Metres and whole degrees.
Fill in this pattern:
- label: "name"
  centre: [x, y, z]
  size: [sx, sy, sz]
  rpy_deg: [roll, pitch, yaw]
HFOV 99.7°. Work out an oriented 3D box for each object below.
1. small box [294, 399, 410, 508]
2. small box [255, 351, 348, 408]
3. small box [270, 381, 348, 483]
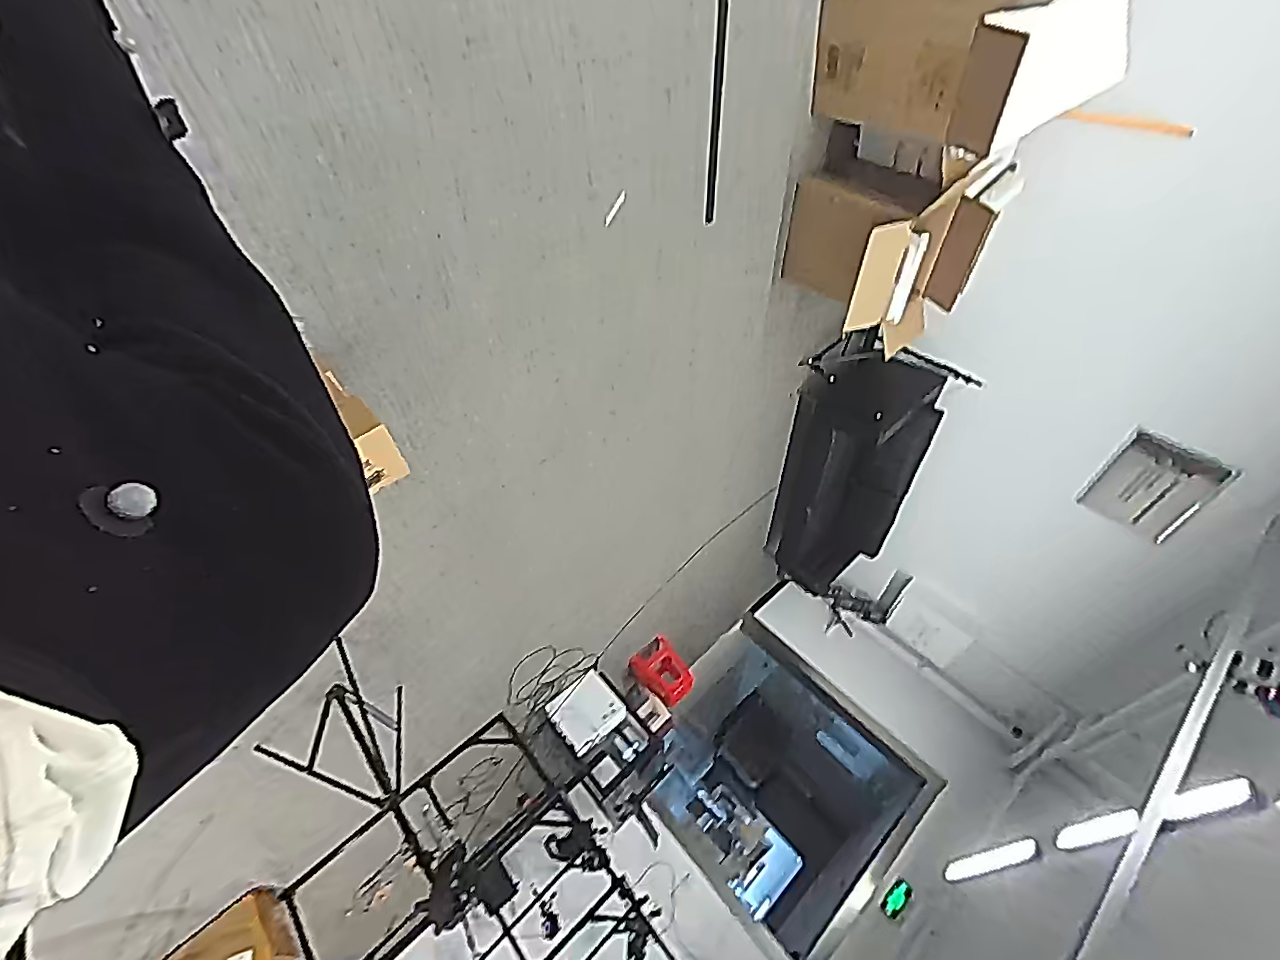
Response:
- label: "small box"
  centre: [-0.713, -0.070, 1.344]
  size: [0.168, 0.176, 0.179]
  rpy_deg: [-37, 146, -25]
- label: "small box"
  centre: [-0.934, -0.232, 1.525]
  size: [0.168, 0.176, 0.179]
  rpy_deg: [-38, 147, -22]
- label: "small box"
  centre: [-0.833, -0.134, 1.439]
  size: [0.179, 0.176, 0.168]
  rpy_deg: [-39, 147, -21]
